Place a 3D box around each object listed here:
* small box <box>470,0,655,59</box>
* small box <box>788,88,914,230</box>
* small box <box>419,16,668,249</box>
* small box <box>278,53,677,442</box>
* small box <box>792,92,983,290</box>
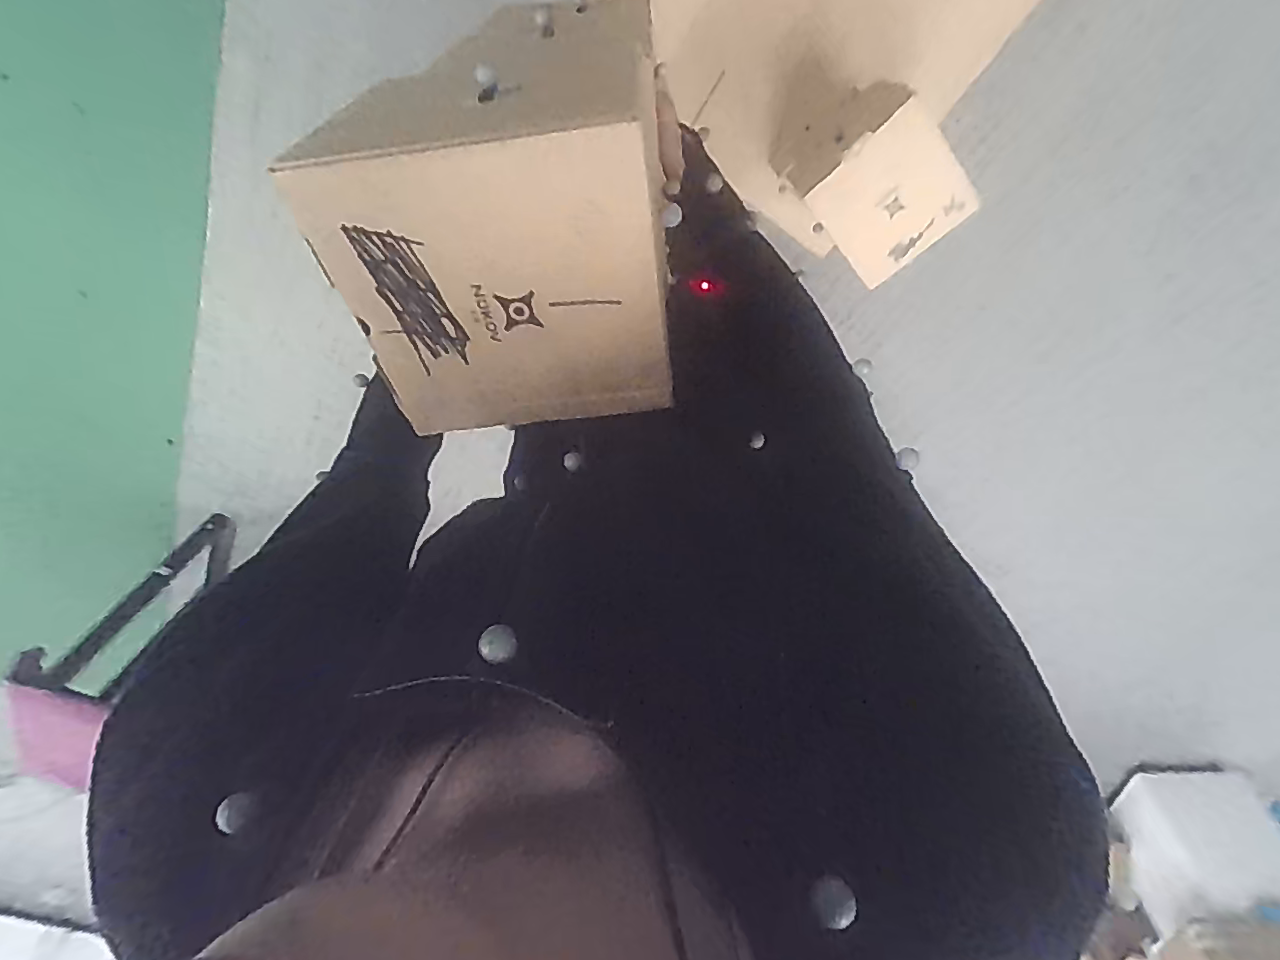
[{"bbox_3d":[-0.064,-0.383,0.579,0.168,0.176,0.179,-4,138,3],"label":"small box"},{"bbox_3d":[0.369,-0.517,0.902,0.179,0.176,0.168,-28,121,25],"label":"small box"},{"bbox_3d":[-0.062,-0.263,0.465,0.168,0.176,0.179,-5,138,4],"label":"small box"},{"bbox_3d":[-0.071,-0.147,0.349,0.179,0.176,0.168,-6,138,5],"label":"small box"},{"bbox_3d":[0.340,-0.414,0.777,0.168,0.176,0.179,-36,116,28],"label":"small box"}]
